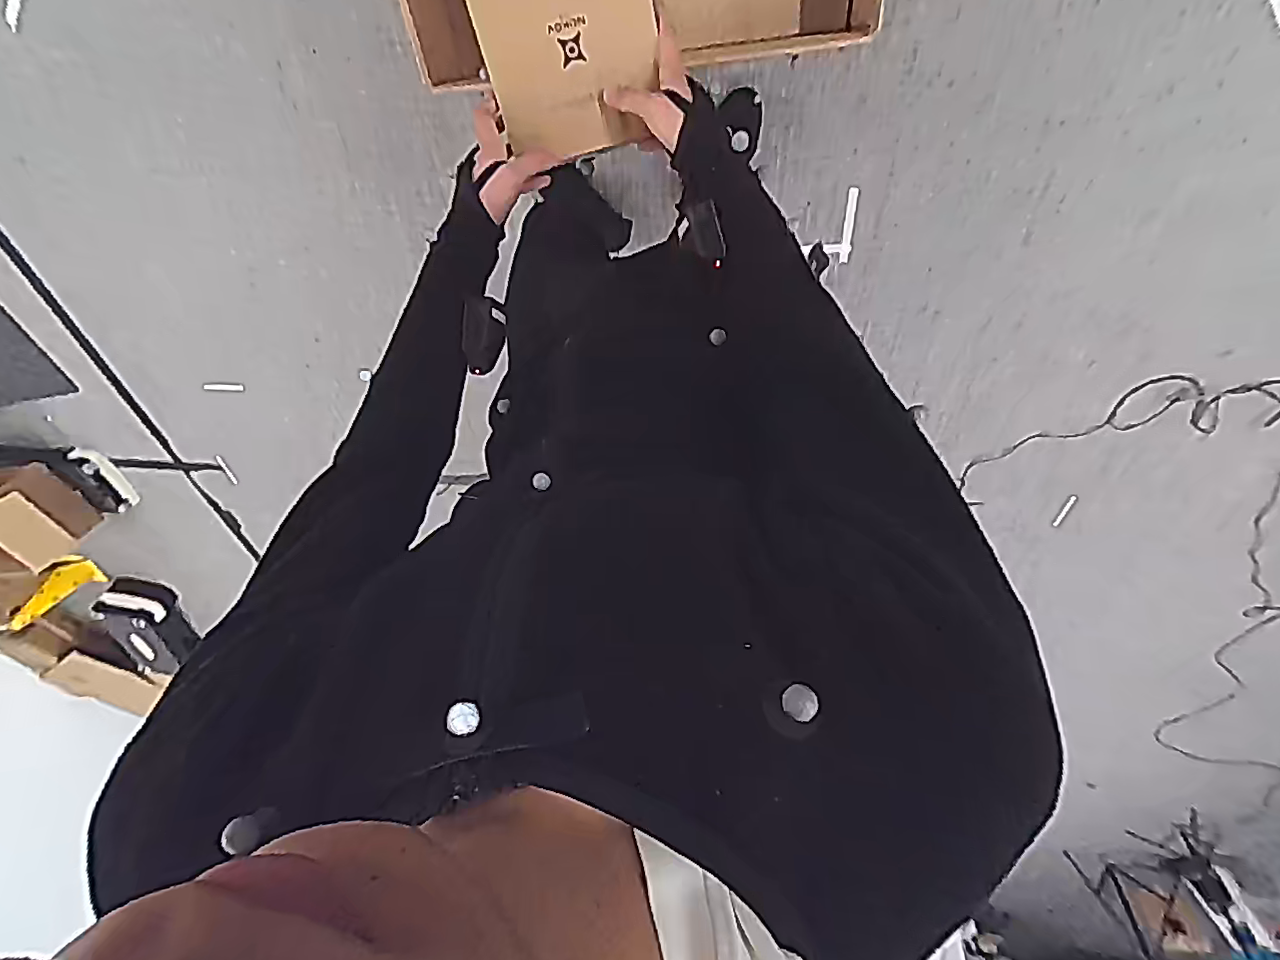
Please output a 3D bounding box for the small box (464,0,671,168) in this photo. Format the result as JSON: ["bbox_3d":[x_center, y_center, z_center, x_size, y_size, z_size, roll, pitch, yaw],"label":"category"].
[{"bbox_3d":[-0.071,-0.445,0.568,0.168,0.176,0.179,-13,120,5],"label":"small box"}]

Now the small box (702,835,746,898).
[{"bbox_3d":[0.356,1.634,2.286,0.168,0.176,0.179,5,132,5],"label":"small box"}]
